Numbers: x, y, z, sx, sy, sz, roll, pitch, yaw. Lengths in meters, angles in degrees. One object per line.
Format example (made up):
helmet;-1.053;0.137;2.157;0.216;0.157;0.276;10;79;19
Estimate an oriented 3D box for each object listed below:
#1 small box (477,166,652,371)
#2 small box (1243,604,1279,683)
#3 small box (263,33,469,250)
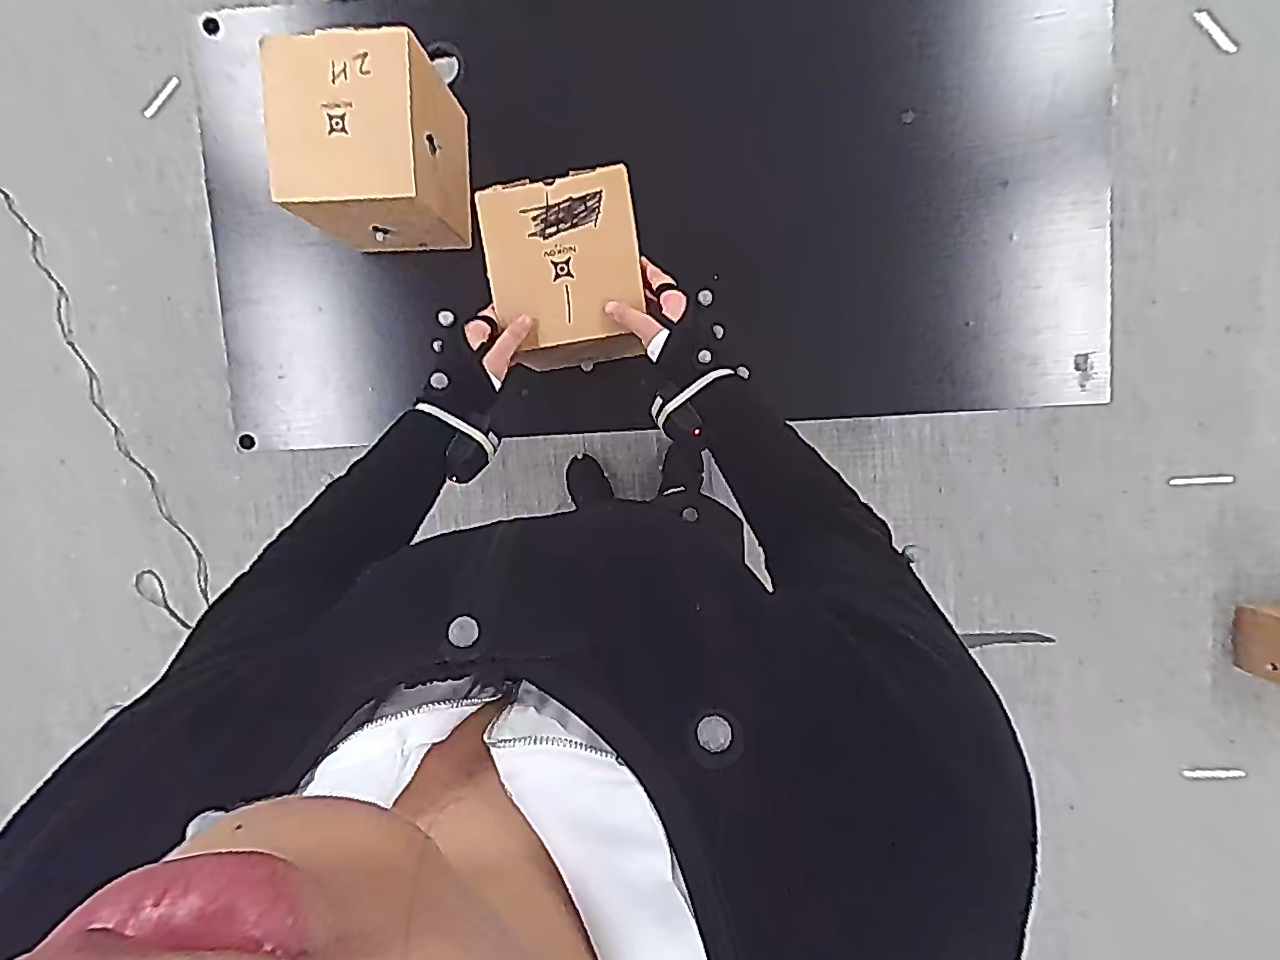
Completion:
small box;-0.079;-0.241;0.659;0.168;0.176;0.179;-9;94;4
small box;1.644;0.413;1.321;0.168;0.176;0.179;-4;94;4
small box;-0.320;-0.395;0.666;0.168;0.176;0.179;-1;94;3
